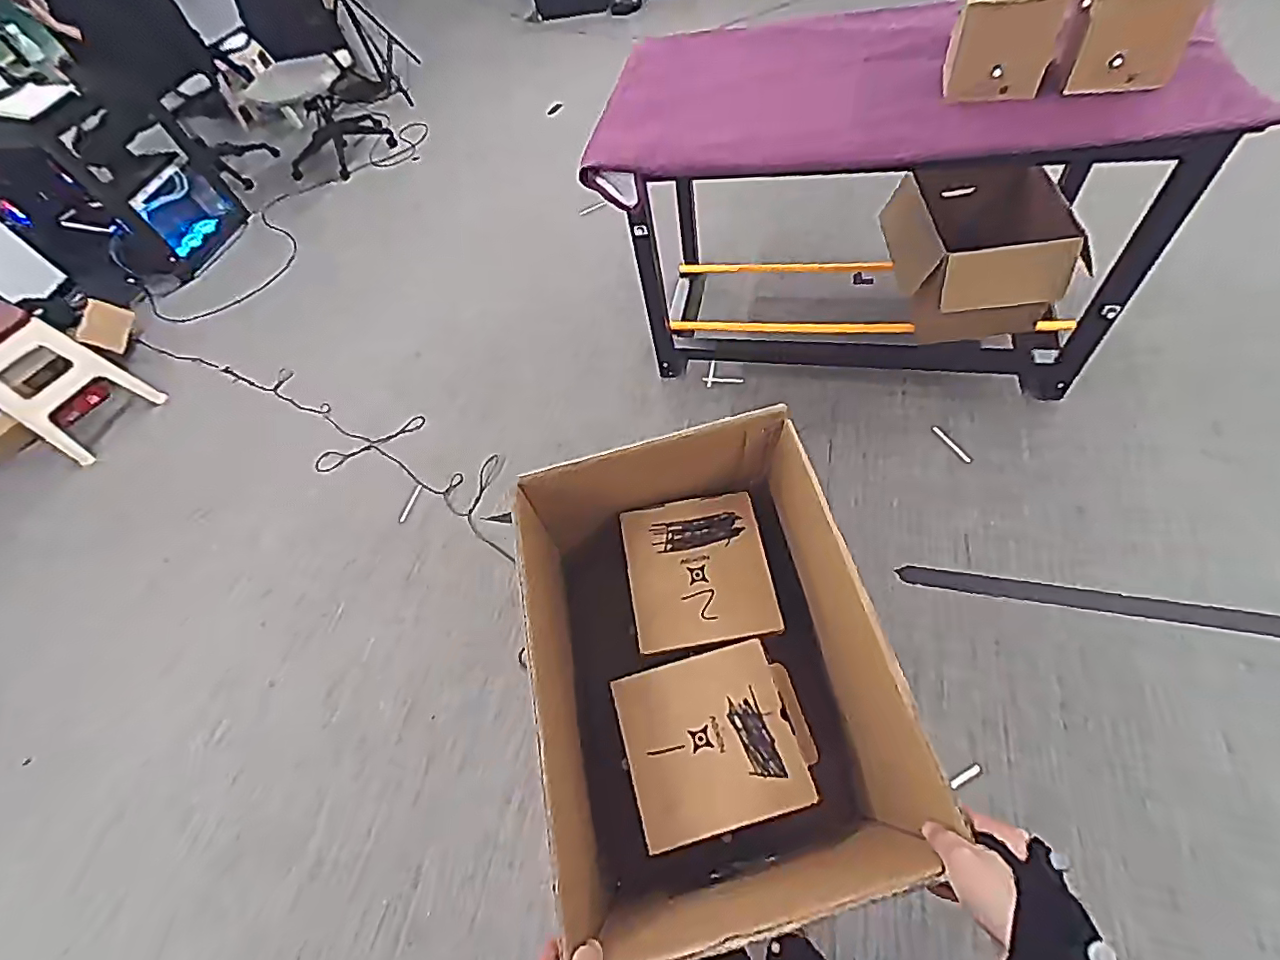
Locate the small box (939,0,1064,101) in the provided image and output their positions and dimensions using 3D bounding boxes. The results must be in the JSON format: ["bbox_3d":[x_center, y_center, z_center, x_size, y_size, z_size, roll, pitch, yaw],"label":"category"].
[{"bbox_3d":[0.709,-0.888,1.078,0.168,0.176,0.179,8,59,18],"label":"small box"}]

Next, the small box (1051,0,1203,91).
[{"bbox_3d":[0.911,-0.869,1.022,0.168,0.176,0.179,8,58,18],"label":"small box"}]
